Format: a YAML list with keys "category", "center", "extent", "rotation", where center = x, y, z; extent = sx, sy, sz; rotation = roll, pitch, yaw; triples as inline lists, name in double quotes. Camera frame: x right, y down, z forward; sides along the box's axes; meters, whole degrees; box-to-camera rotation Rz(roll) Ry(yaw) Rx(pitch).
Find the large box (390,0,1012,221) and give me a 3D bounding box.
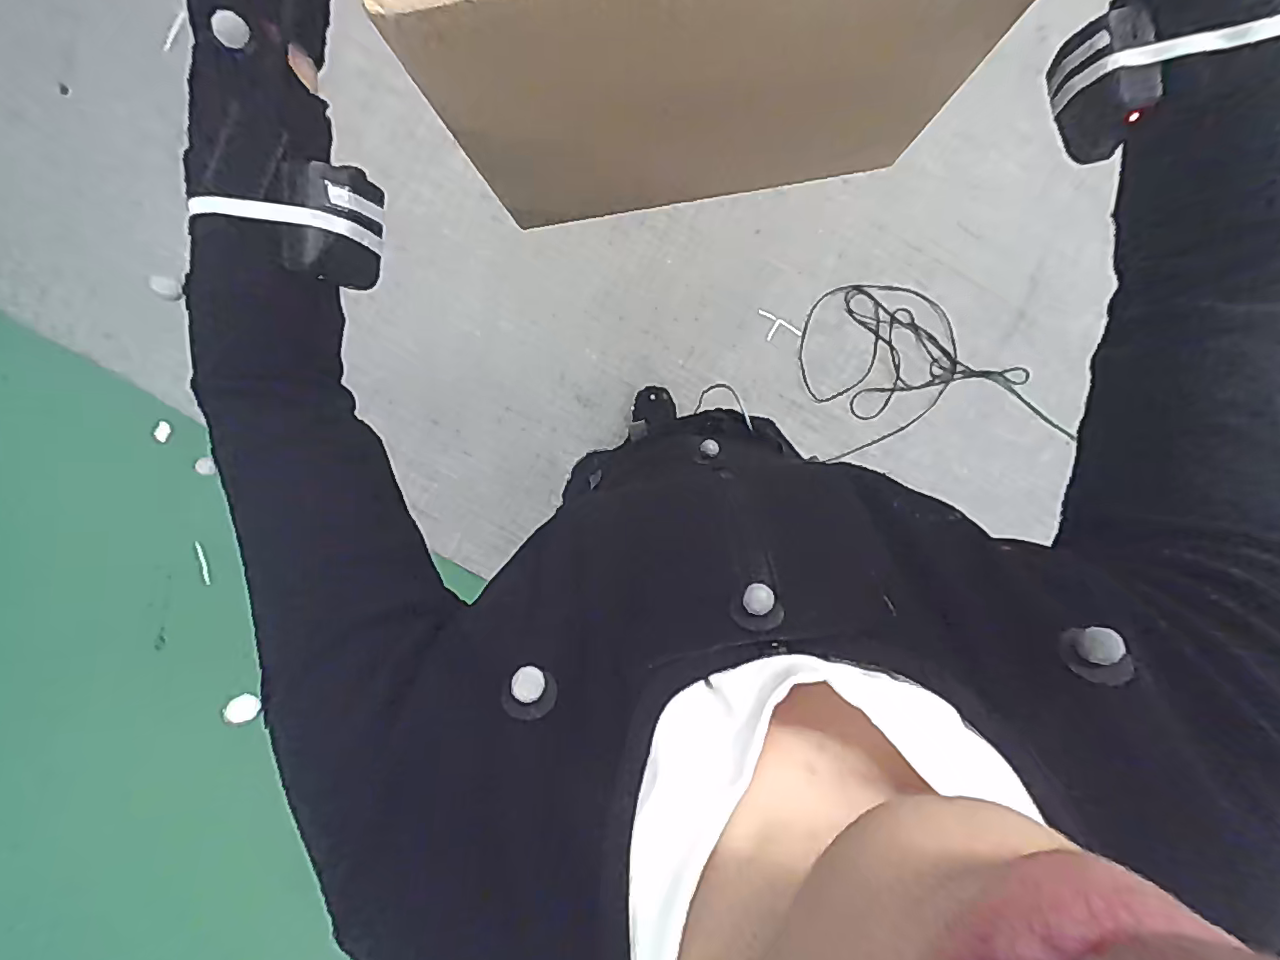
- category: "large box"
  center: [0.039, -0.445, 0.418]
  extent: [0.408, 0.320, 0.320]
  rotation: [-9, 96, 3]
